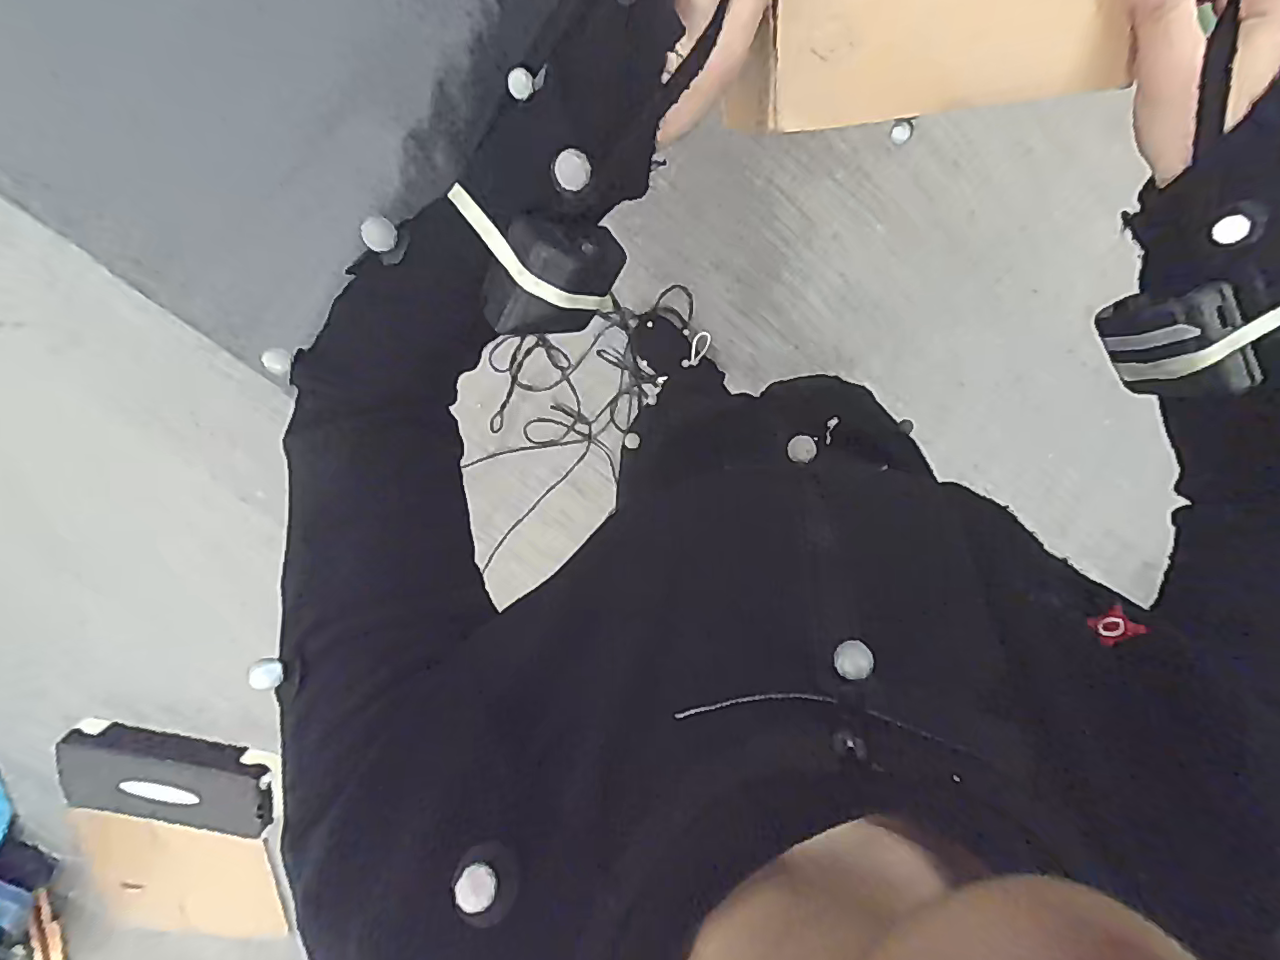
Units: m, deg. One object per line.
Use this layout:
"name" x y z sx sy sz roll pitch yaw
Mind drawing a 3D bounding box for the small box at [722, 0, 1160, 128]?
"small box" 0.138 -0.290 0.284 0.179 0.176 0.168 -6 124 2
